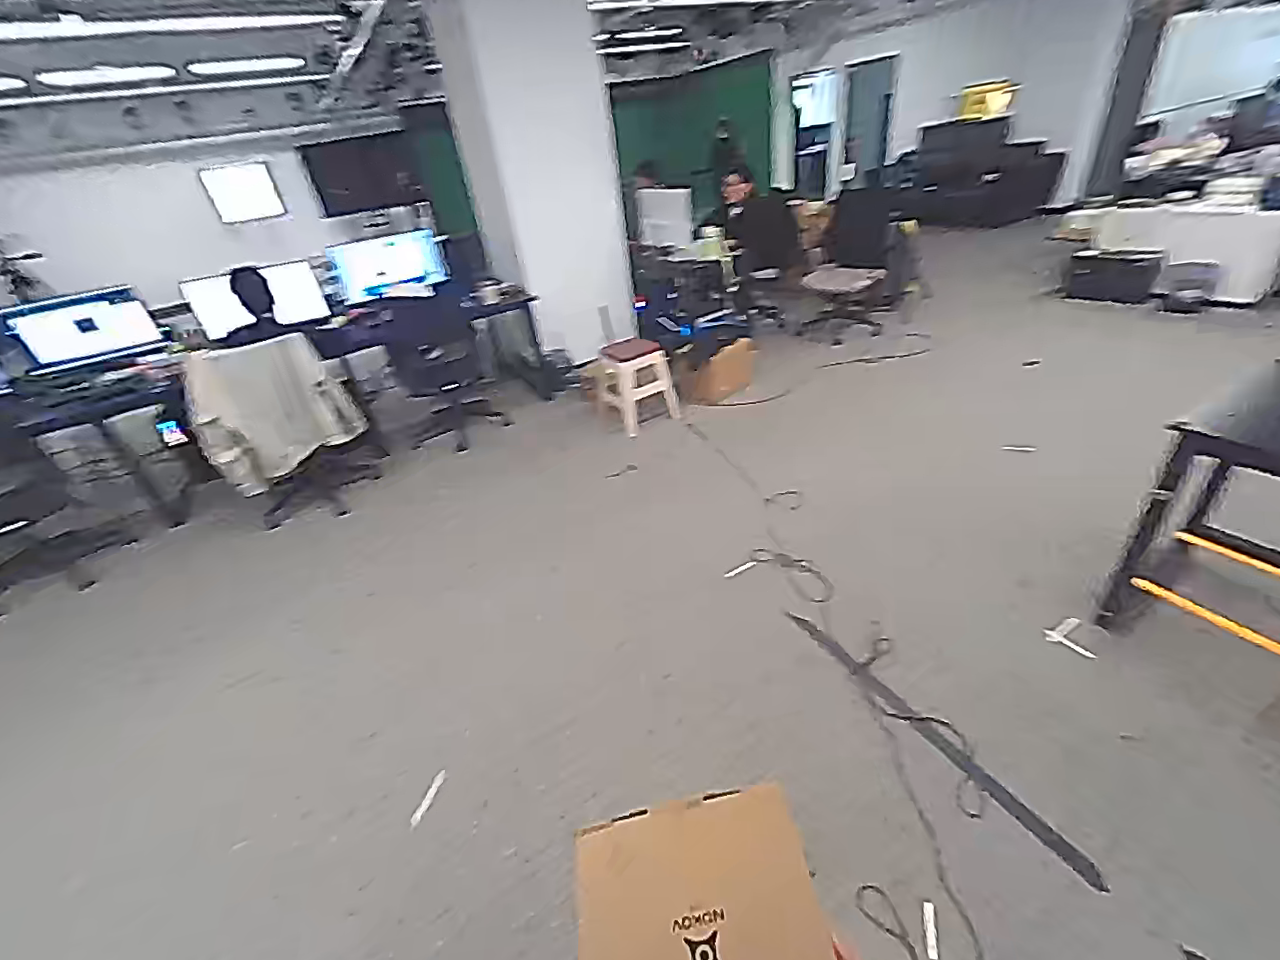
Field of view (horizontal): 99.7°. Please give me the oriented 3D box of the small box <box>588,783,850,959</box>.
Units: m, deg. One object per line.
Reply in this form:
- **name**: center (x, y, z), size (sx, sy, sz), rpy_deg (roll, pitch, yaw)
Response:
- **small box**: center (0.060, 0.361, 0.403), size (0.168, 0.176, 0.179), rpy_deg (-12, 41, 1)
